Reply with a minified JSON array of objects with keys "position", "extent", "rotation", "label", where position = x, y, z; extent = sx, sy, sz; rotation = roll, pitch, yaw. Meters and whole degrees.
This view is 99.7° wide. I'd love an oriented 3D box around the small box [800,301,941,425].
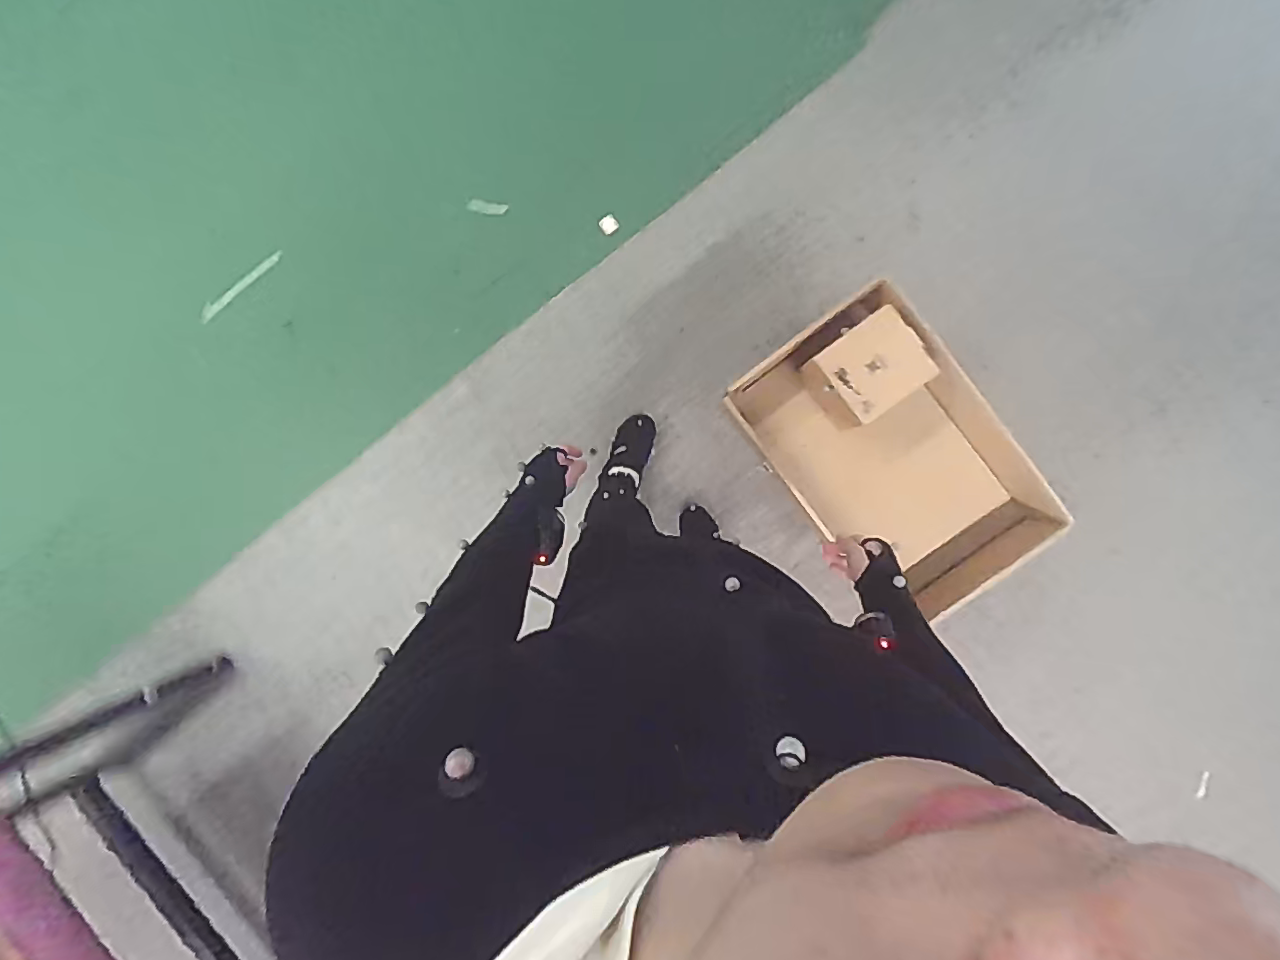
[{"position":[0.455,-0.227,1.097],"extent":[0.179,0.176,0.168],"rotation":[-35,90,4],"label":"small box"}]
